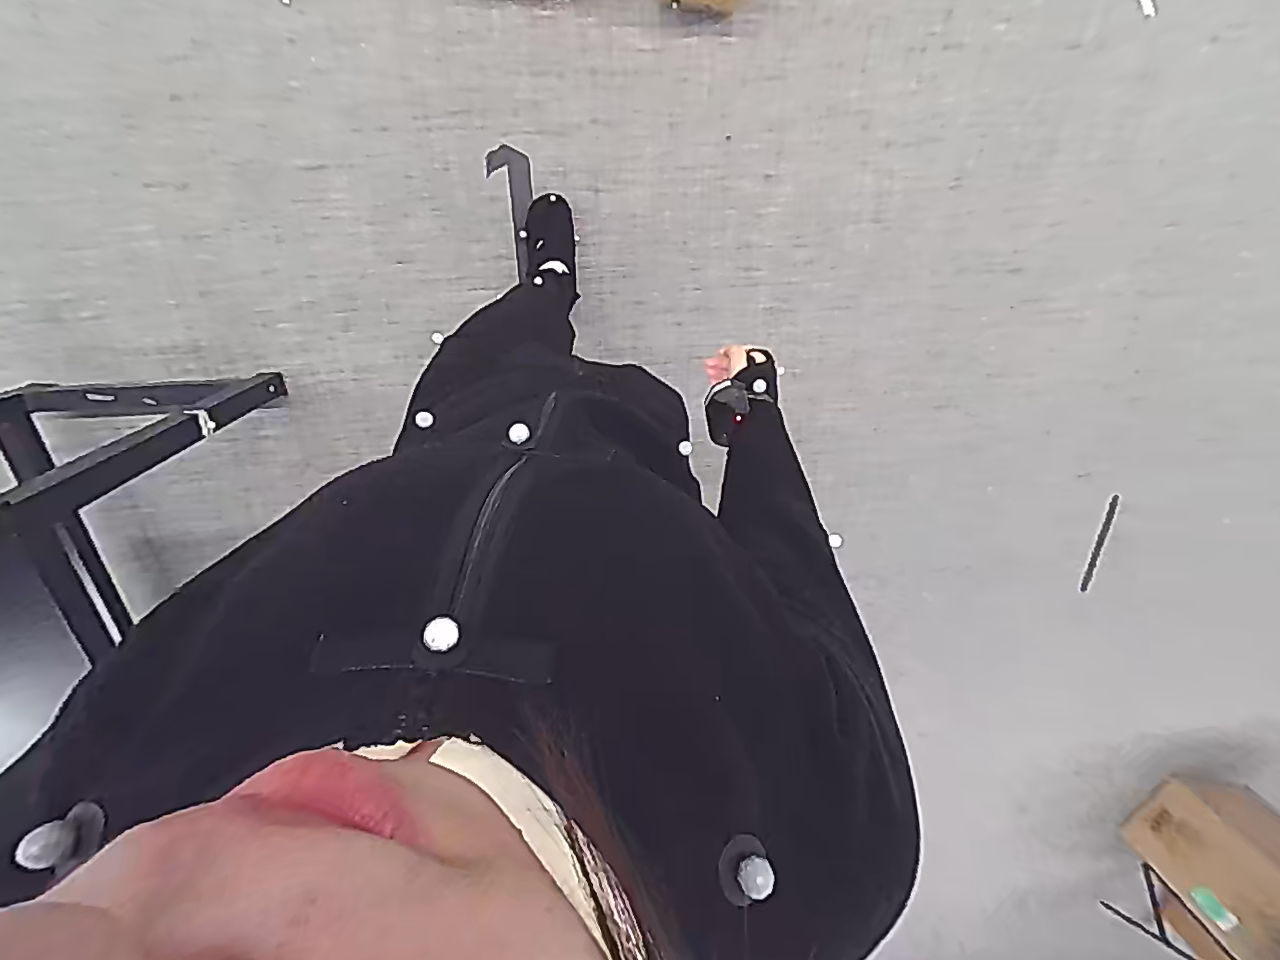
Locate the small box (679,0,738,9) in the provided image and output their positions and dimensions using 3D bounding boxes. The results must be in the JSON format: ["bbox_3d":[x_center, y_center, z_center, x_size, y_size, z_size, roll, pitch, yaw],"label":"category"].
[{"bbox_3d":[0.132,-1.023,1.009,0.168,0.176,0.179,1,114,-8],"label":"small box"}]
